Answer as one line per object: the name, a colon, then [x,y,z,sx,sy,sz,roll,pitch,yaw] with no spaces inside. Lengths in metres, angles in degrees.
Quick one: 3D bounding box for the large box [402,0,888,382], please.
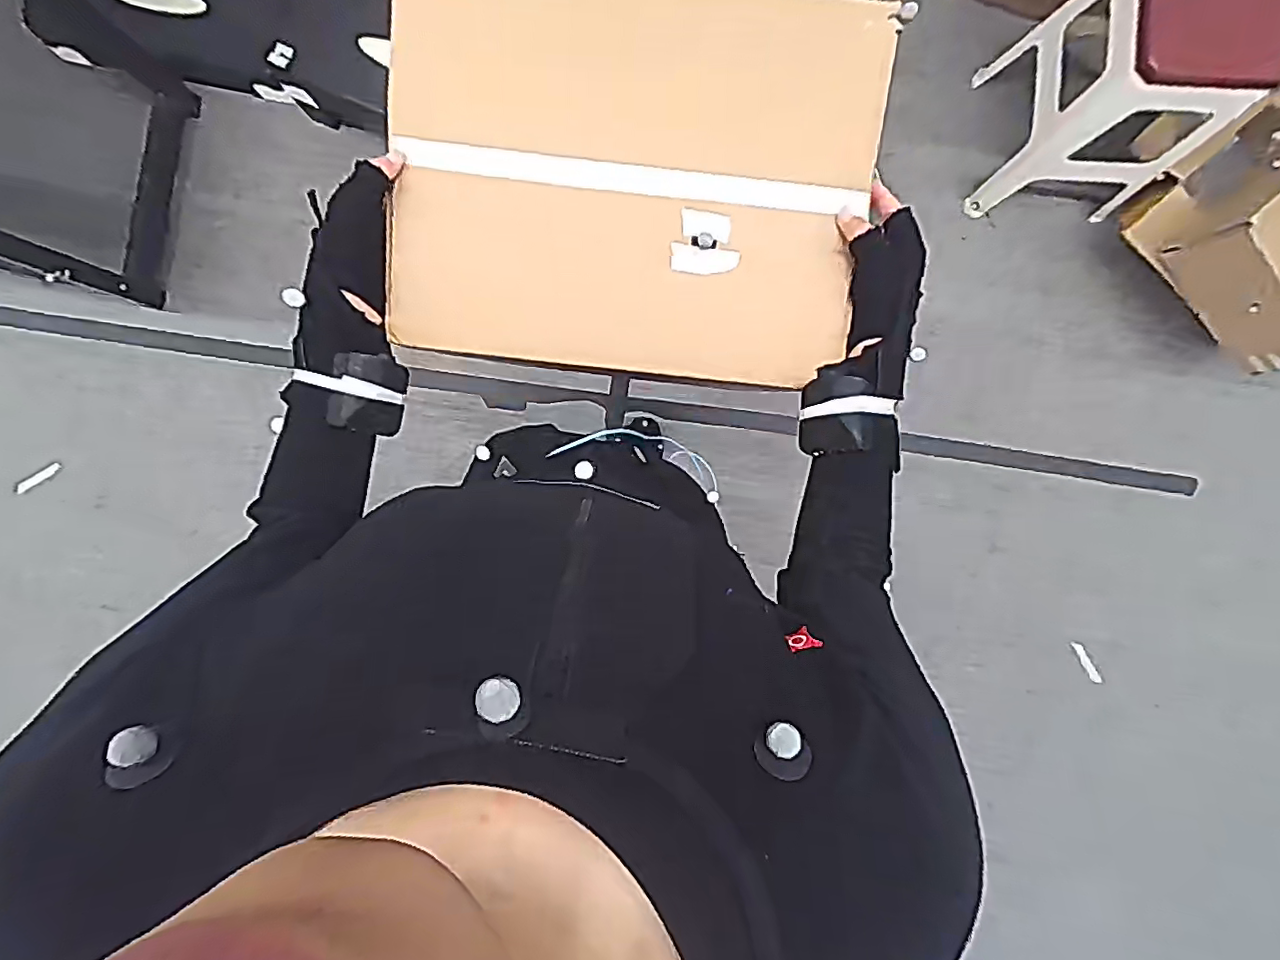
large box: [-0.008,-0.285,0.615,0.408,0.320,0.320,6,101,-3]
